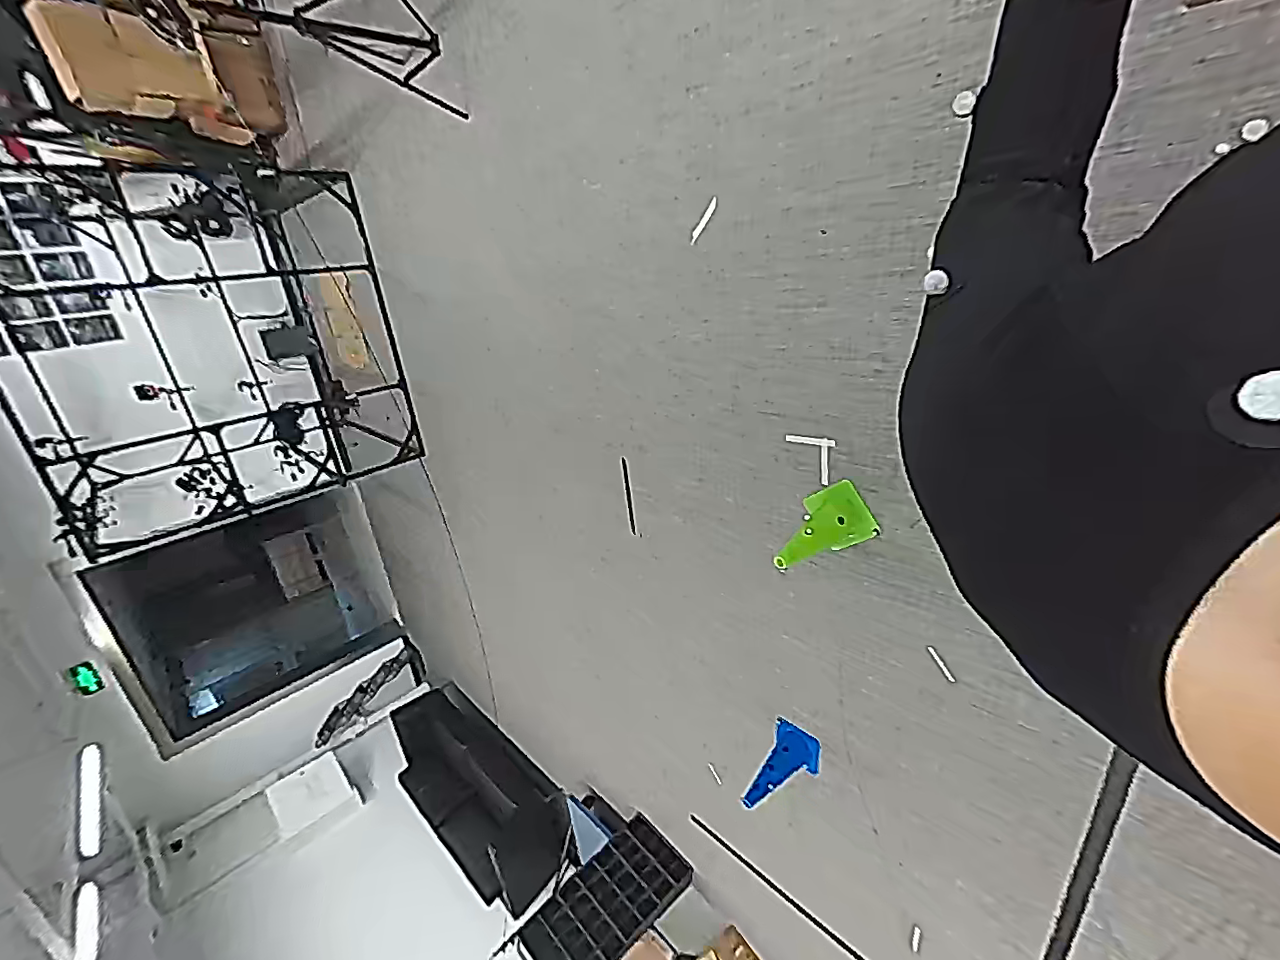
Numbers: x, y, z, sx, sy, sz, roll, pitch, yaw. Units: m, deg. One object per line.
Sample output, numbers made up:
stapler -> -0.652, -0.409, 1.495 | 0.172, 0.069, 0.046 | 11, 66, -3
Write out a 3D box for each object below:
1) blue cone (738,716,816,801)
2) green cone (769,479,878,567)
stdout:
blue cone -> 0.534, 1.160, 2.178 | 0.192, 0.380, 0.193 | 22, 125, 43
green cone -> 0.515, 0.166, 1.637 | 0.200, 0.368, 0.202 | 60, 144, 8
